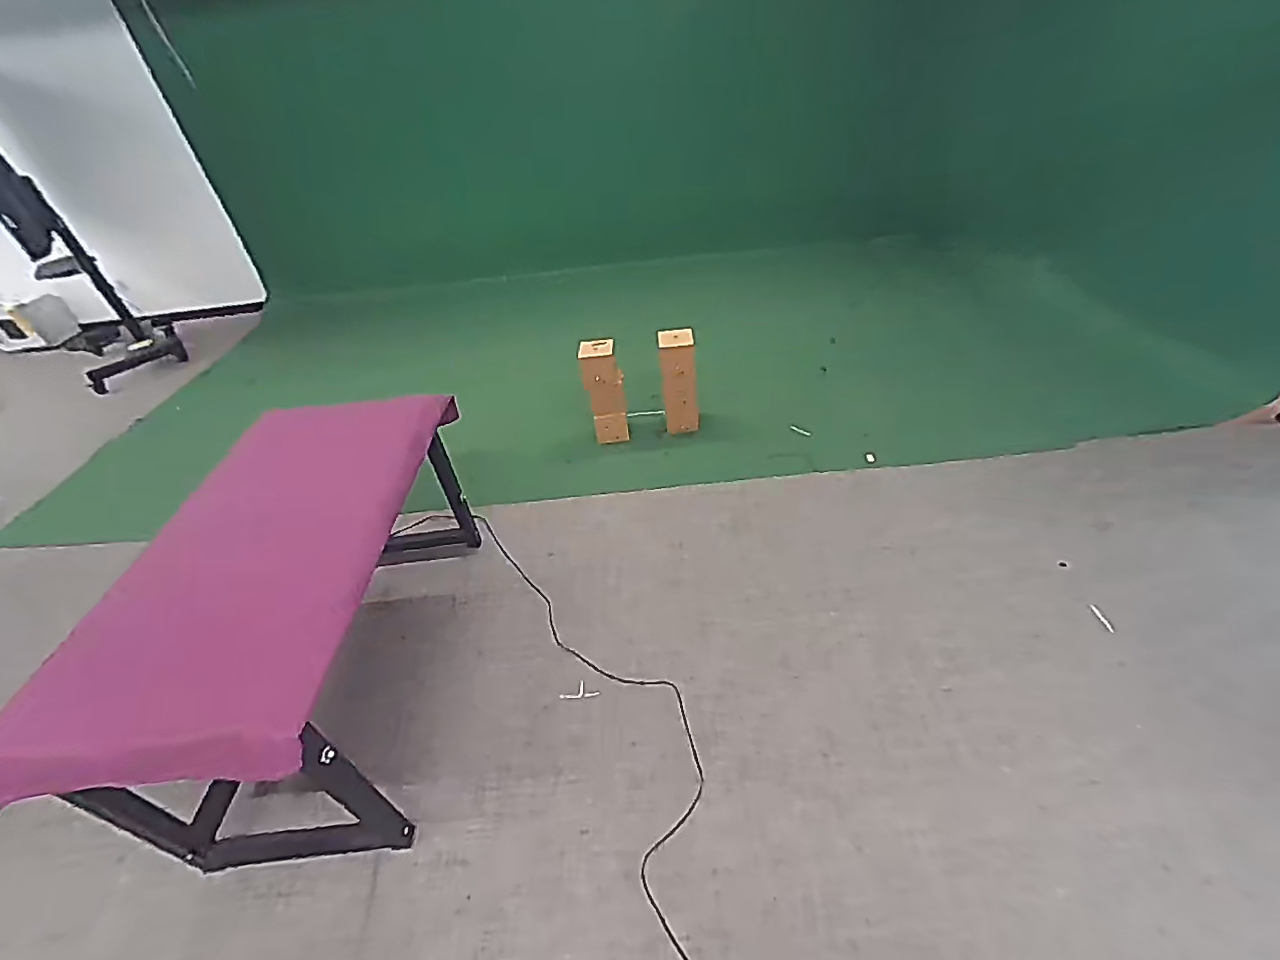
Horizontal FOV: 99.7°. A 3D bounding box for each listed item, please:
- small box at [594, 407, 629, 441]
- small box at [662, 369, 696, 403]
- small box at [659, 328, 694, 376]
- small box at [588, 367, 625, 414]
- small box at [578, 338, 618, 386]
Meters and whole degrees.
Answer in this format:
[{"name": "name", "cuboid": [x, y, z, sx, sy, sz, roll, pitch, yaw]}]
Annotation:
[{"name": "small box", "cuboid": [-0.151, -0.319, 2.849, 0.168, 0.176, 0.179, -8, 39, 1]}, {"name": "small box", "cuboid": [0.198, -0.502, 2.753, 0.168, 0.176, 0.179, -5, 41, 2]}, {"name": "small box", "cuboid": [0.178, -0.627, 2.649, 0.168, 0.176, 0.179, -5, 41, 4]}, {"name": "small box", "cuboid": [-0.169, -0.453, 2.759, 0.179, 0.176, 0.168, -8, 38, 0]}, {"name": "small box", "cuboid": [-0.203, -0.578, 2.657, 0.168, 0.176, 0.179, -5, 39, 3]}]
